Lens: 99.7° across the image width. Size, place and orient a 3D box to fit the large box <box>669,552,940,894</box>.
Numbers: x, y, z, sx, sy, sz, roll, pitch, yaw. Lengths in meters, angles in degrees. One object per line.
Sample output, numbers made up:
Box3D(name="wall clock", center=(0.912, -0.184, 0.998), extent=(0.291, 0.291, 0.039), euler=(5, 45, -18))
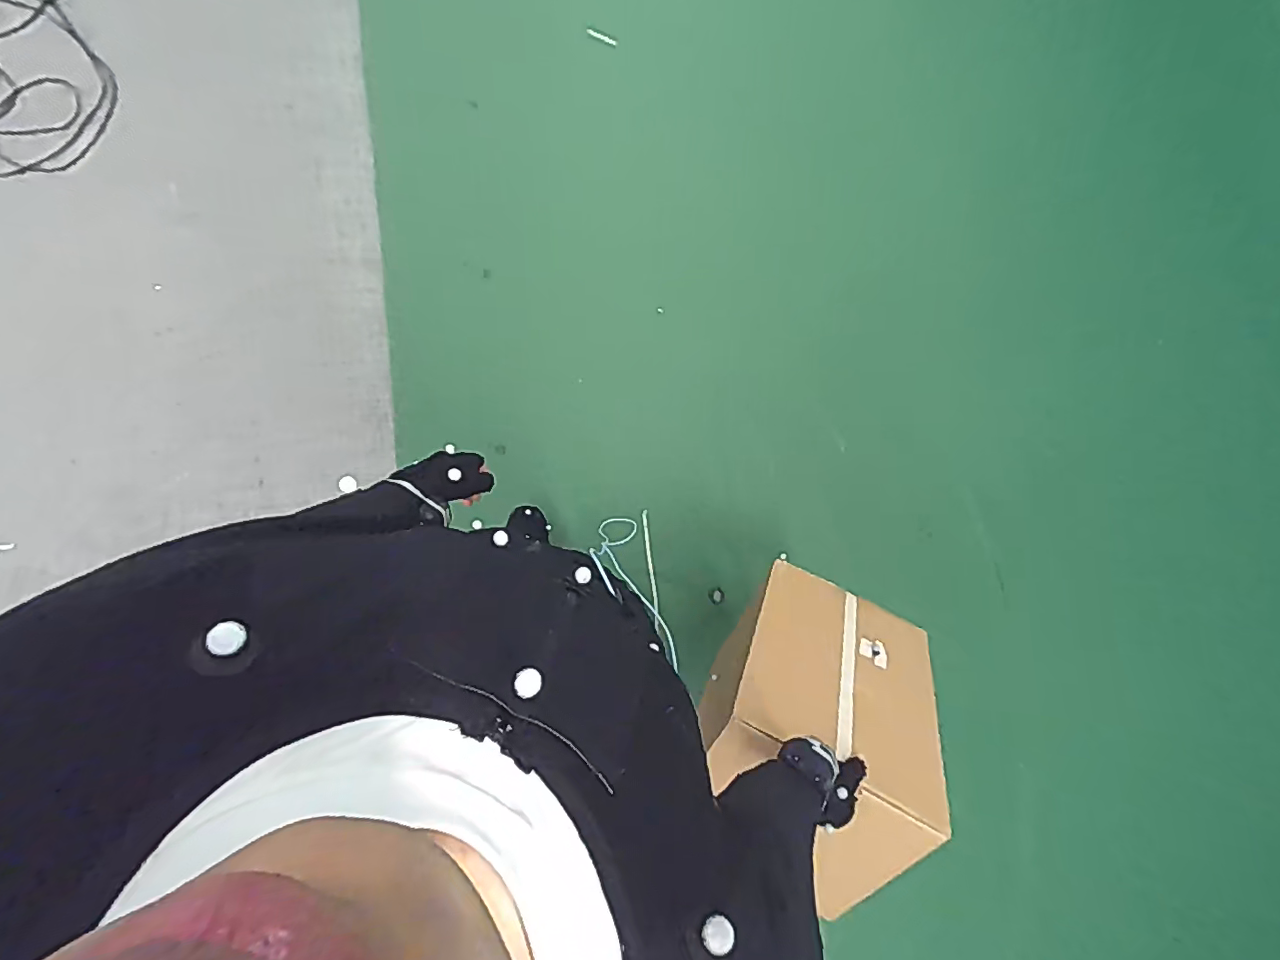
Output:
Box3D(name="large box", center=(0.287, 0.413, 0.983), extent=(0.320, 0.408, 0.320), euler=(27, 123, 8))
